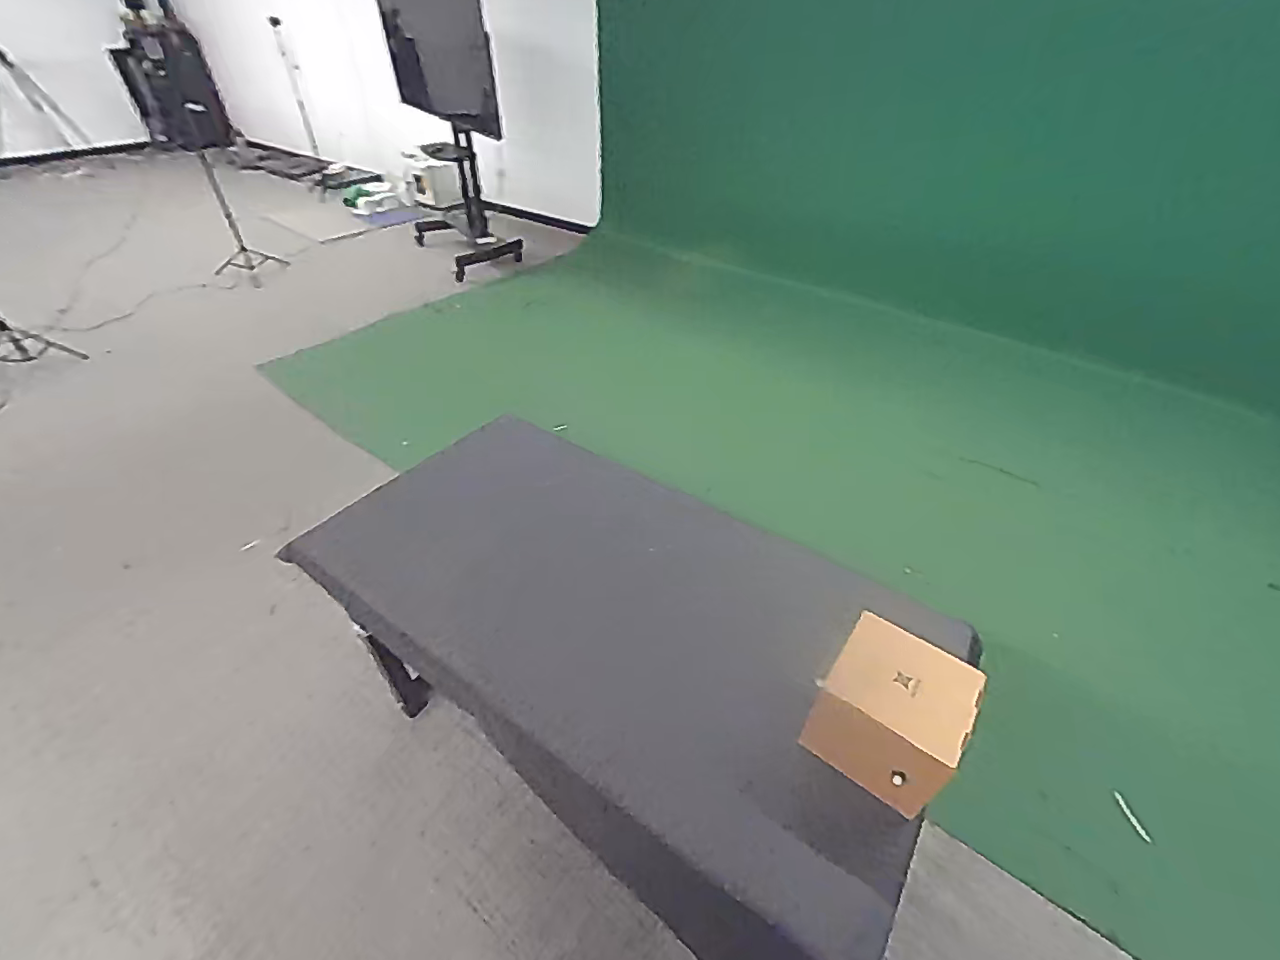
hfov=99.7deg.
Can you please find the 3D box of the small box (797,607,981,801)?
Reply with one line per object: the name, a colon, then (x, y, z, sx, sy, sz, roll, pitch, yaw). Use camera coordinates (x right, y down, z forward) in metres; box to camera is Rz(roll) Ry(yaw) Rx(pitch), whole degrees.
small box: (0.354, 0.329, 0.788, 0.179, 0.176, 0.168, 26, 46, 28)
